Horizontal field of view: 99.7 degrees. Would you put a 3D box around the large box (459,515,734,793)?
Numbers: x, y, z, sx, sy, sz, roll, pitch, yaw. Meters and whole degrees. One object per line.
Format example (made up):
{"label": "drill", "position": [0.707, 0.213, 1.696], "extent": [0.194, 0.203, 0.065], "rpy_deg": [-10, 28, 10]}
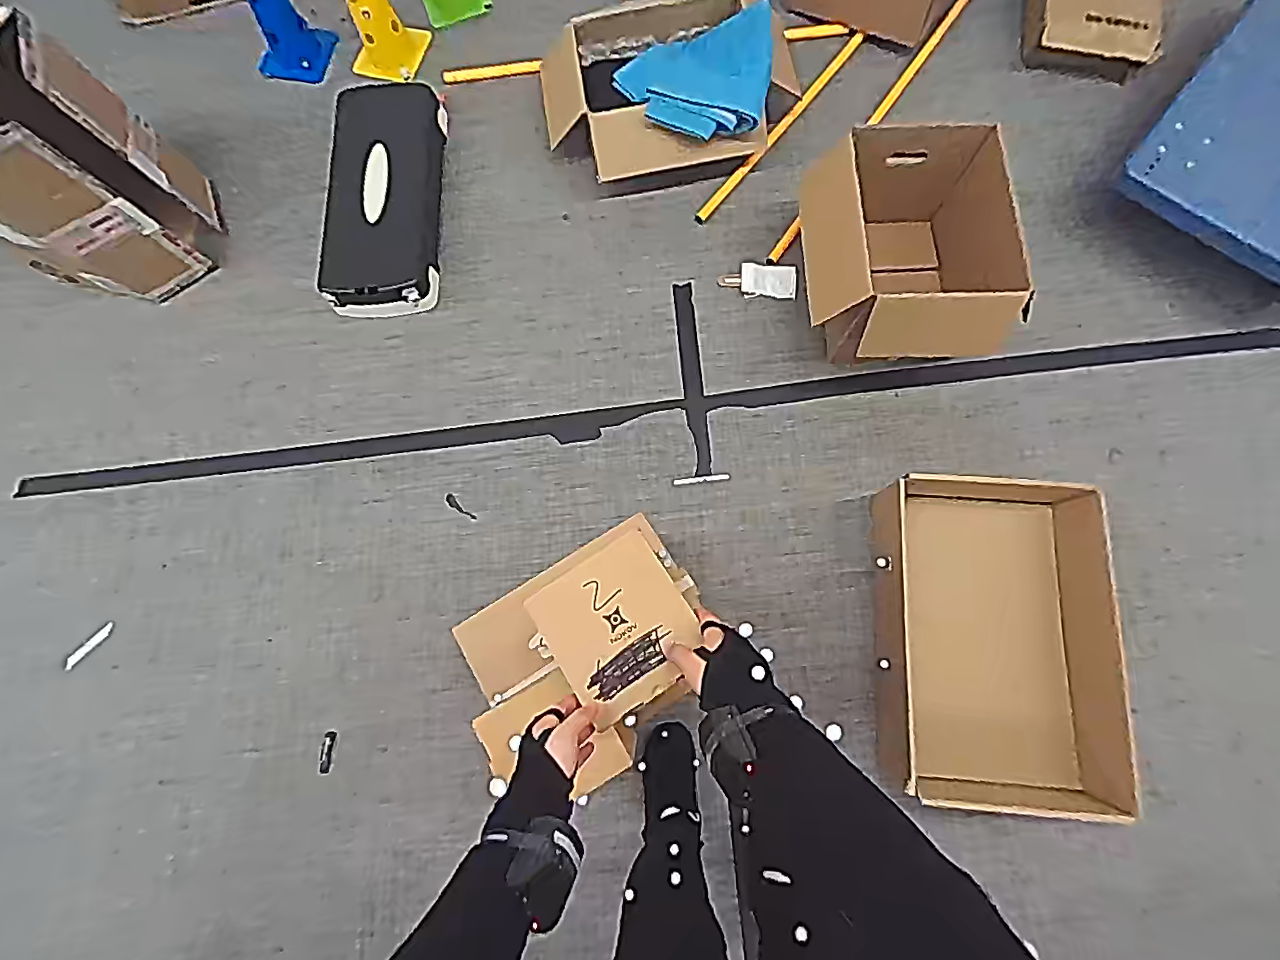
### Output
{"label": "large box", "position": [-0.070, 0.324, 1.091], "extent": [0.408, 0.320, 0.320], "rpy_deg": [-33, 76, -4]}

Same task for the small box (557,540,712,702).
{"label": "small box", "position": [-0.005, 0.219, 0.859], "extent": [0.168, 0.176, 0.179], "rpy_deg": [-34, 77, -3]}
